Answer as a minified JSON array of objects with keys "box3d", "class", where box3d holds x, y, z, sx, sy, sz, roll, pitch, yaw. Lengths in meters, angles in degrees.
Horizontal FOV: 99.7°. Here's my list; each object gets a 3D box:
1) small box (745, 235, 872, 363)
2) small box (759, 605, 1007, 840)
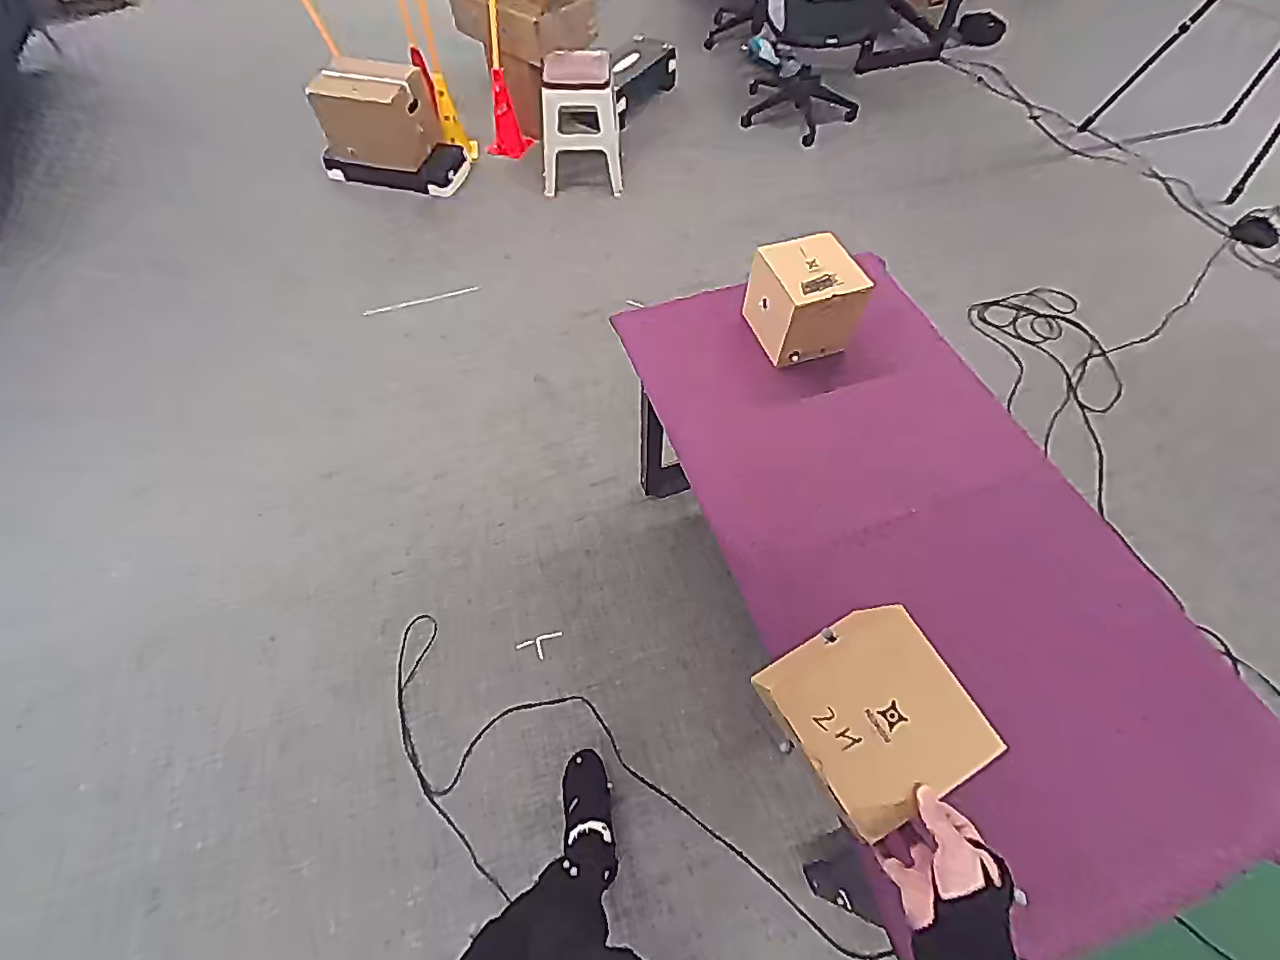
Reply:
[{"box3d":[0.330,-0.358,1.095,0.168,0.176,0.179,-16,59,-10],"class":"small box"},{"box3d":[0.258,0.262,0.627,0.179,0.176,0.168,-31,73,-4],"class":"small box"}]
